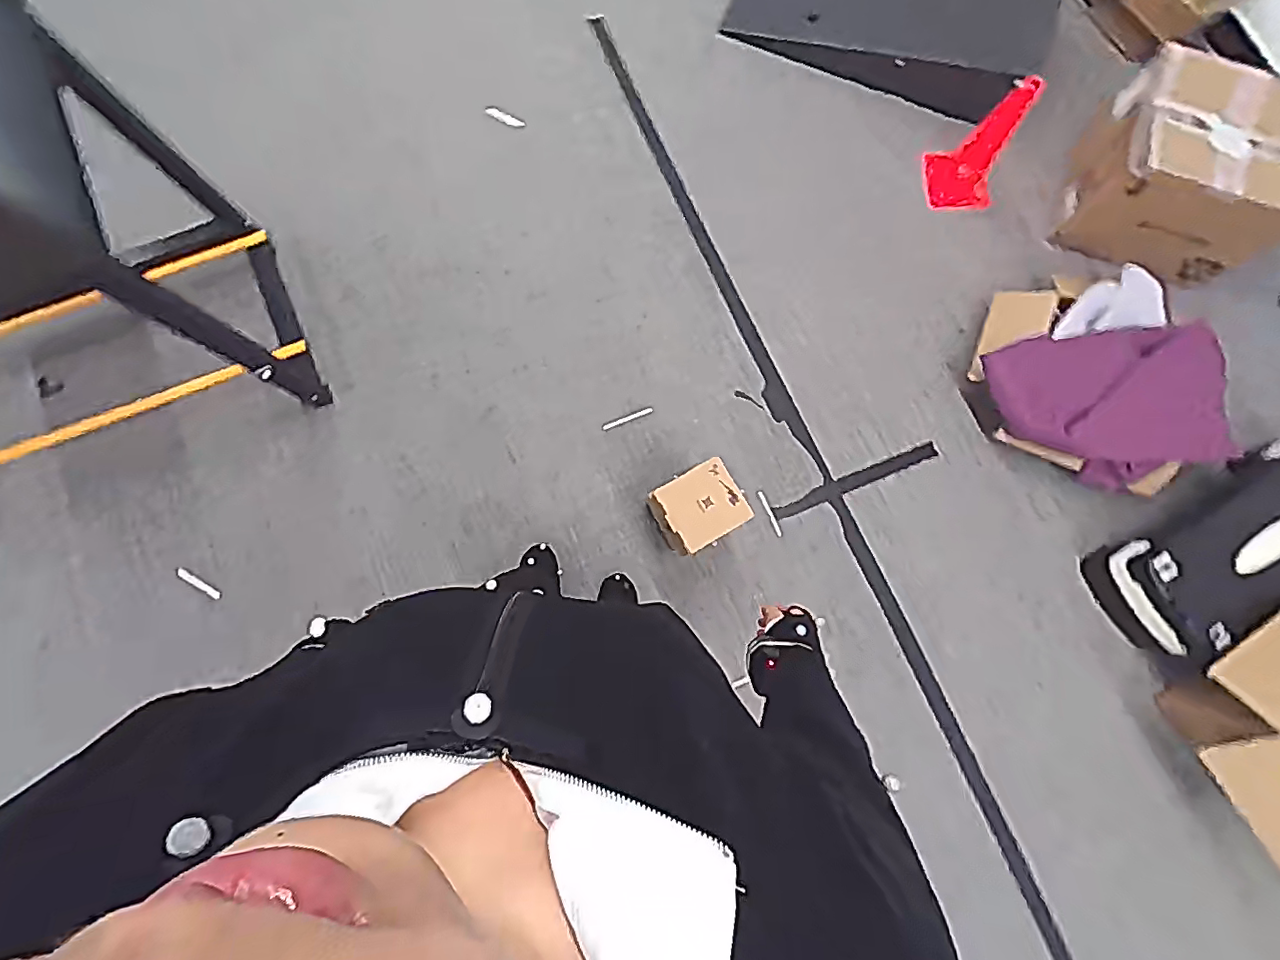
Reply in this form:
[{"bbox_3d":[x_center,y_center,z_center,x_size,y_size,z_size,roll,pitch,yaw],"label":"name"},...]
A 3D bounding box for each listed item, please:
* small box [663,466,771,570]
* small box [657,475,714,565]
[{"bbox_3d":[0.164,0.094,1.217,0.179,0.176,0.168,-30,82,-5],"label":"small box"},{"bbox_3d":[0.154,0.105,1.382,0.179,0.176,0.168,-29,81,-4],"label":"small box"}]
